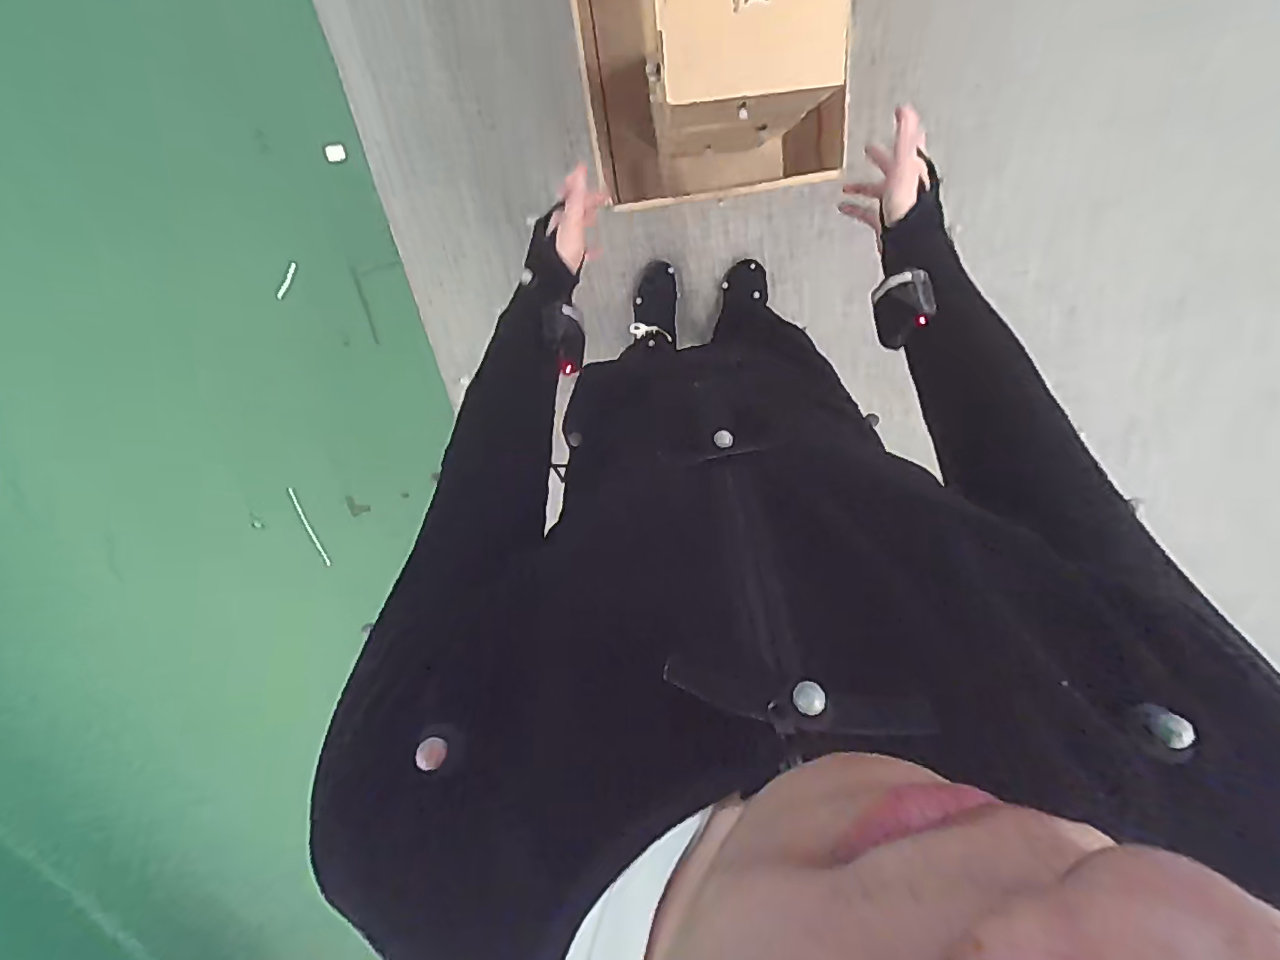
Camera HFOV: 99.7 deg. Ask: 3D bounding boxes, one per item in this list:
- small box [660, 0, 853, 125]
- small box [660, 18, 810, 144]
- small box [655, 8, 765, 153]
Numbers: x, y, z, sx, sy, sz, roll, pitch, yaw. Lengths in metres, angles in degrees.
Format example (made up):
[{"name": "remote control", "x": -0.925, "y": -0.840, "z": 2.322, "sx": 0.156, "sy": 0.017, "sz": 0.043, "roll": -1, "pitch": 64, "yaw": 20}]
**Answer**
[{"name": "small box", "x": 0.109, "y": -0.481, "z": 0.559, "sx": 0.179, "sy": 0.176, "sz": 0.168, "roll": -3, "pitch": 116, "yaw": 4}, {"name": "small box", "x": 0.118, "y": -0.551, "z": 0.706, "sx": 0.179, "sy": 0.176, "sz": 0.168, "roll": -4, "pitch": 115, "yaw": 5}, {"name": "small box", "x": 0.121, "y": -0.627, "z": 0.852, "sx": 0.179, "sy": 0.176, "sz": 0.168, "roll": -4, "pitch": 116, "yaw": 5}]
